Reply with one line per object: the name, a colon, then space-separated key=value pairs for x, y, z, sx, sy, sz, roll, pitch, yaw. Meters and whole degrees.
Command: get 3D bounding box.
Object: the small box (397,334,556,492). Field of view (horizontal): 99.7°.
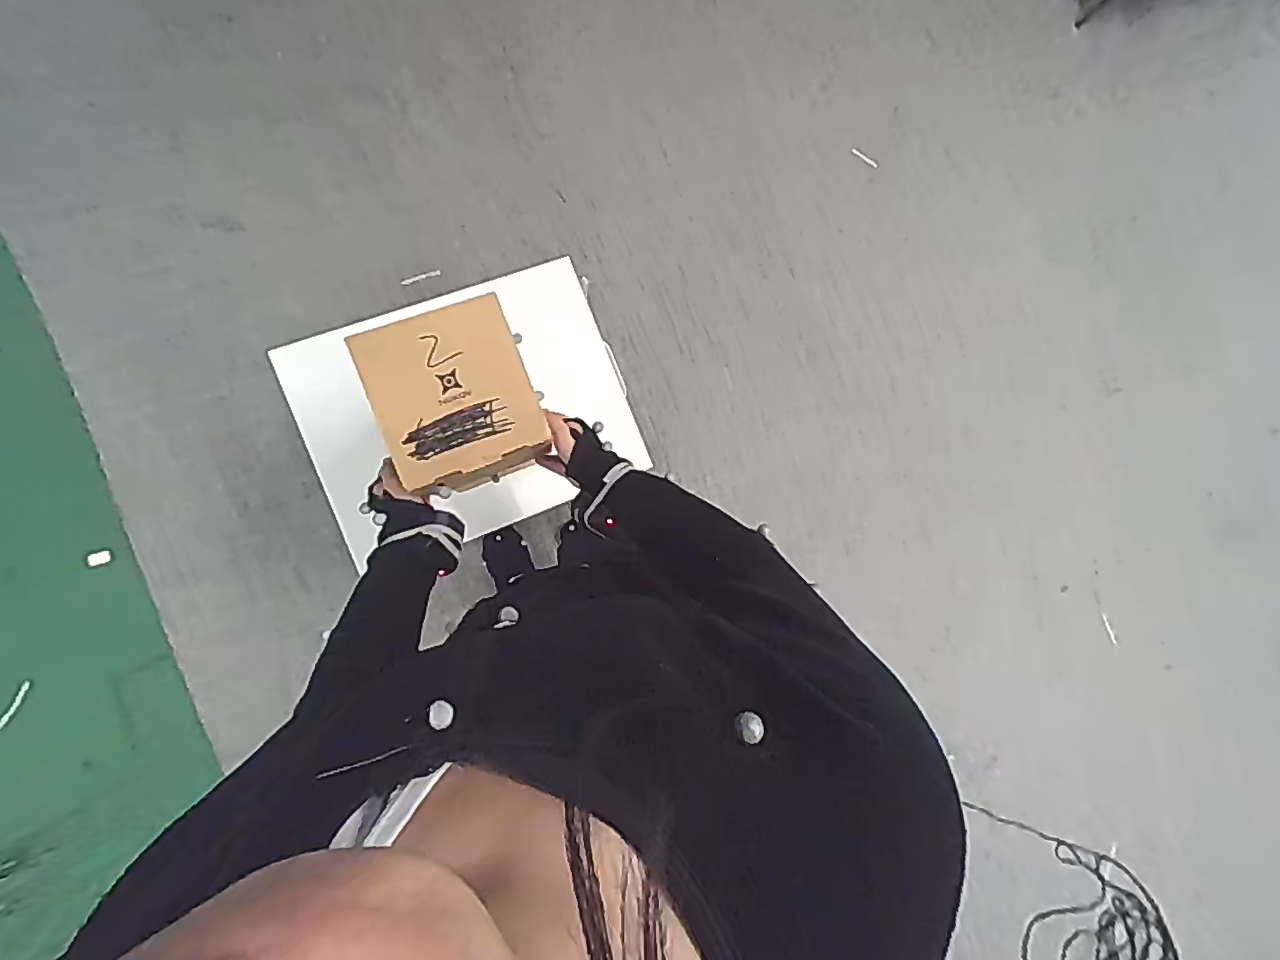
small box: x=-0.236 y=-0.091 z=0.814 sx=0.168 sy=0.176 sz=0.179 roll=-22 pitch=91 yaw=-10
